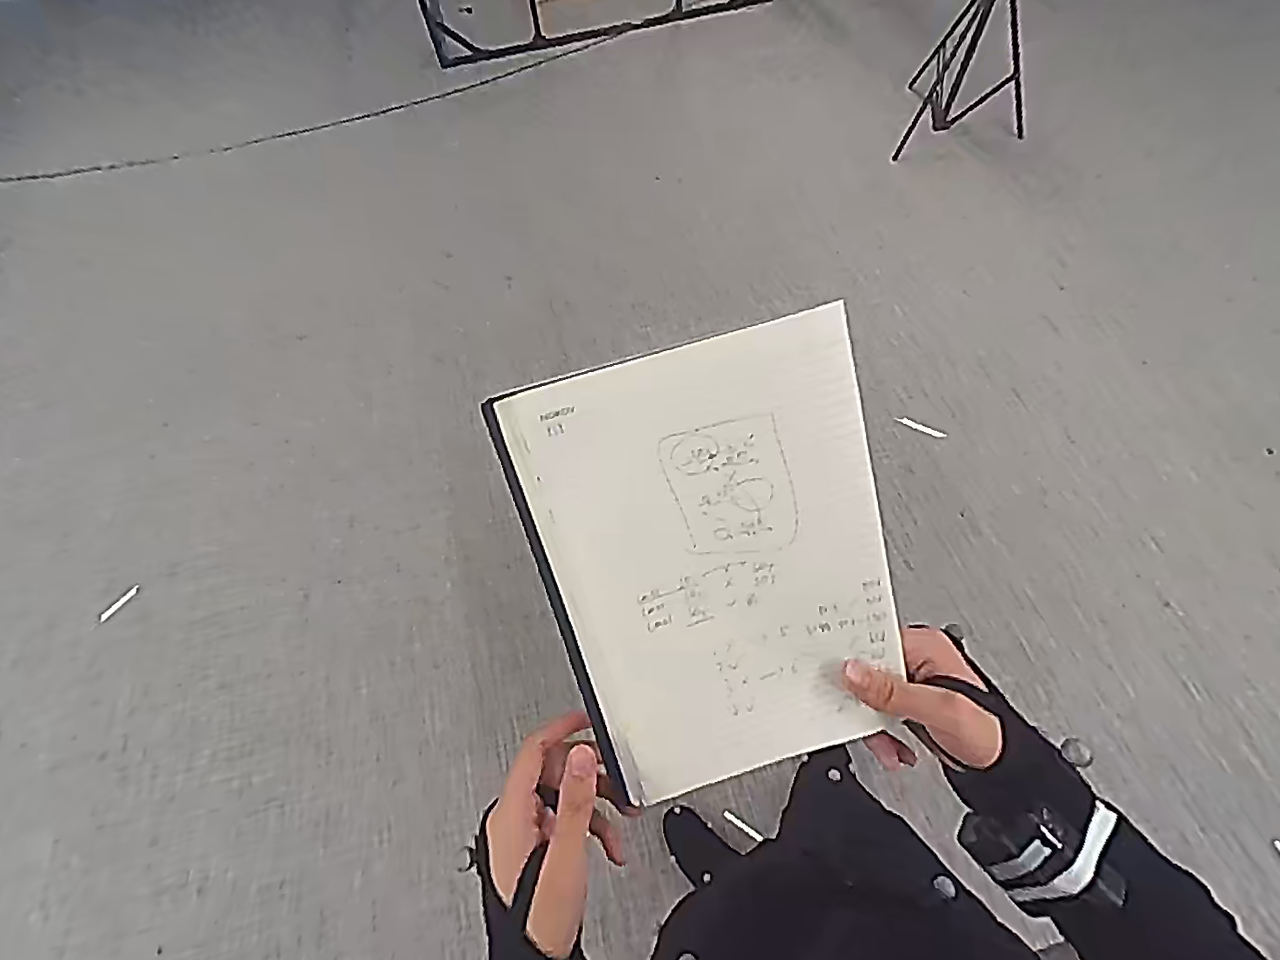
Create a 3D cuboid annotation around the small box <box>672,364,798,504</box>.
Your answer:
[{"bbox_3d":[0.173,-0.084,1.042,0.179,0.176,0.168,-26,63,-9],"label":"small box"}]
